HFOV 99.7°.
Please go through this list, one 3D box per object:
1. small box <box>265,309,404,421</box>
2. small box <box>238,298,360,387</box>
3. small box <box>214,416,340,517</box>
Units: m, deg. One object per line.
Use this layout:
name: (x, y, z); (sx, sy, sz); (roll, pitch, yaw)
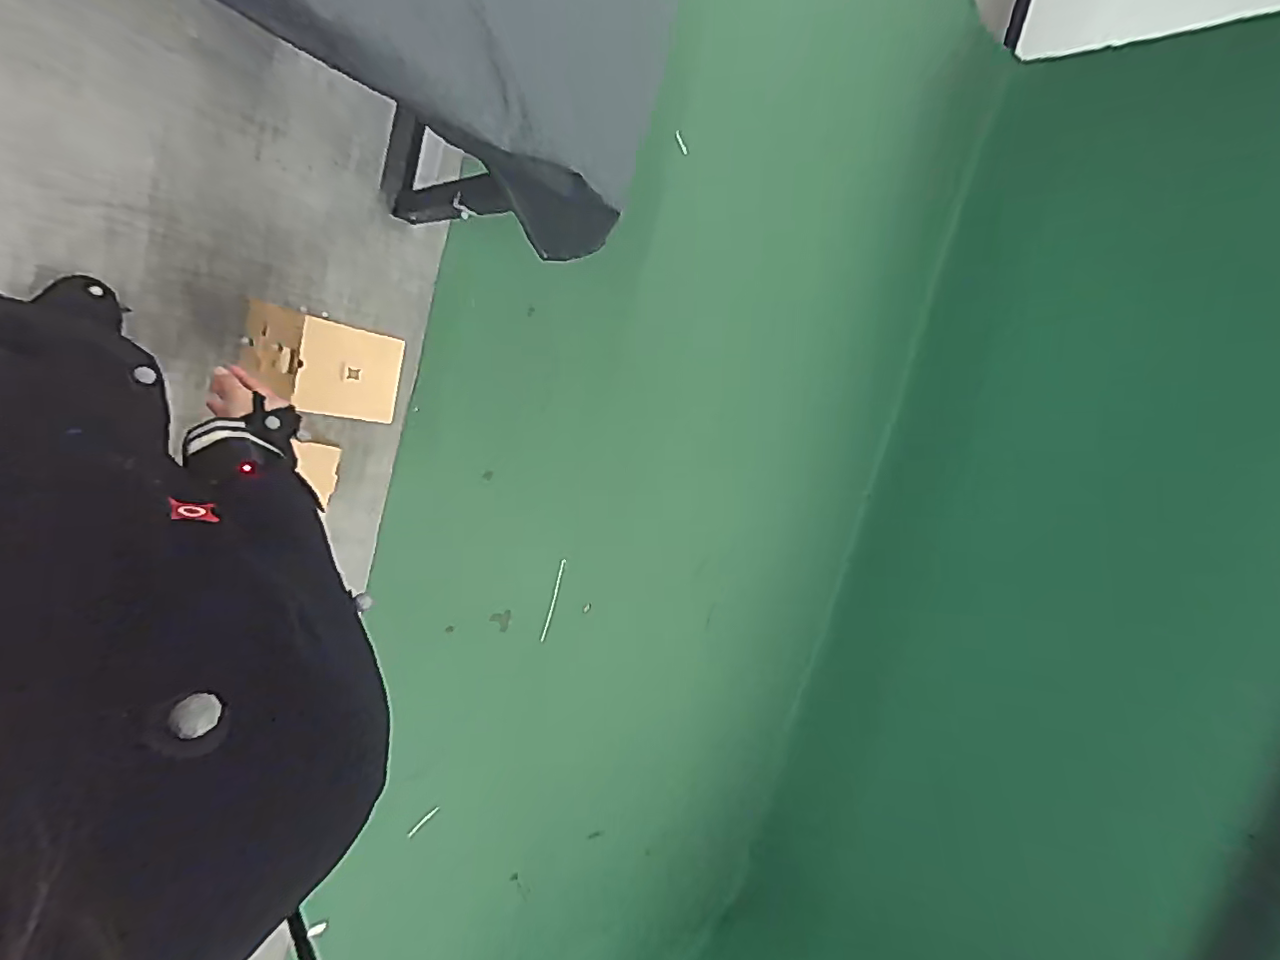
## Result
small box: (-0.582, -0.220, 1.030); (0.179, 0.176, 0.168); (5, 102, -47)
small box: (-0.709, -0.268, 1.124); (0.179, 0.176, 0.168); (7, 99, -48)
small box: (-0.775, -0.030, 1.152); (0.179, 0.176, 0.168); (12, 96, -46)
